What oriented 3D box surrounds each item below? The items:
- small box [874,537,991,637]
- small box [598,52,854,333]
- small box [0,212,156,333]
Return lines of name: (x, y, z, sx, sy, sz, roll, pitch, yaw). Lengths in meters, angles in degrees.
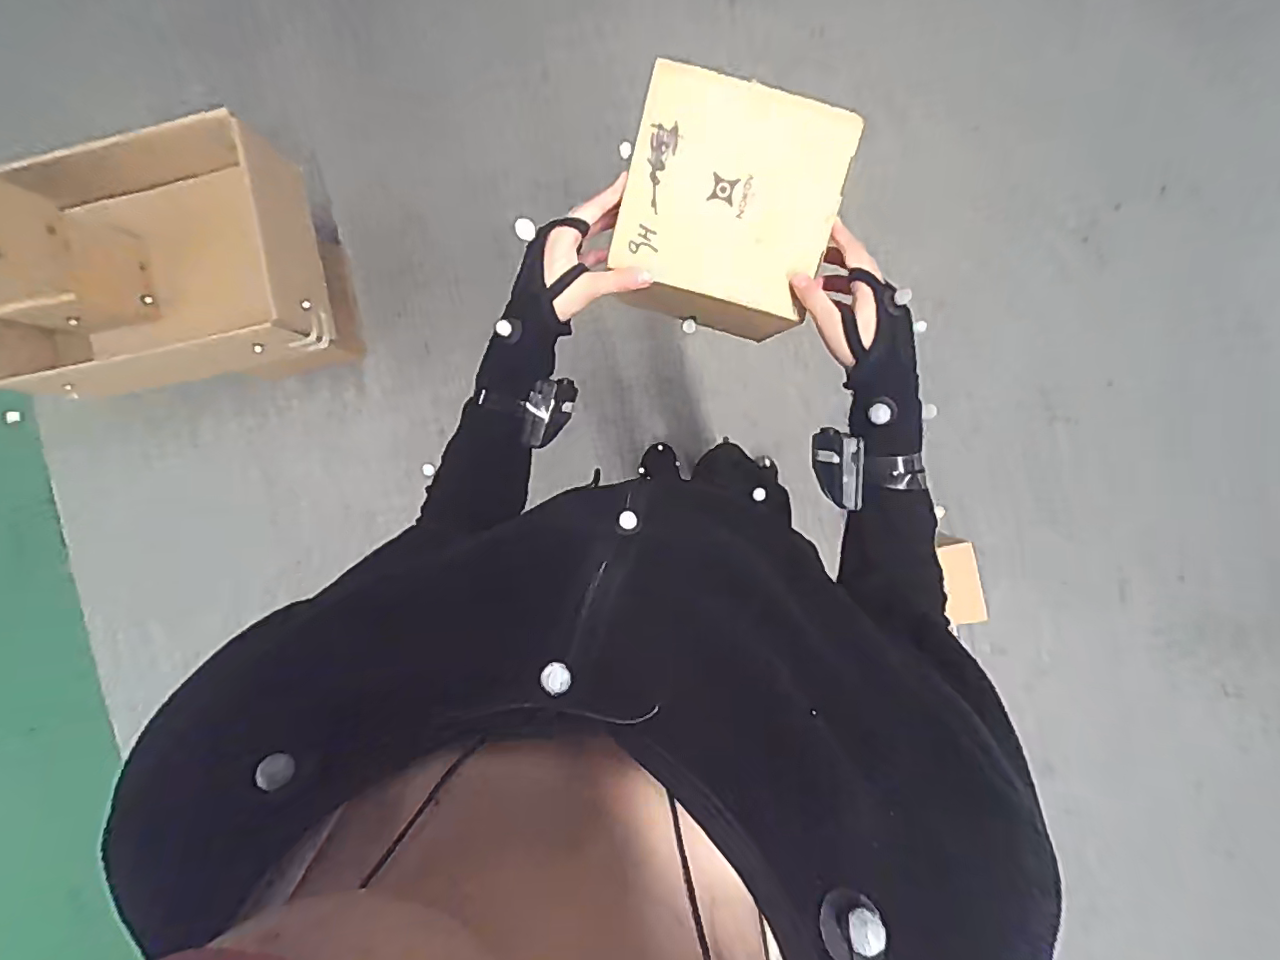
small box: (0.646, 0.231, 1.215, 0.168, 0.176, 0.179, -12, 91, 6)
small box: (0.067, -0.247, 0.515, 0.179, 0.176, 0.168, 14, 96, -2)
small box: (-1.110, -0.400, 1.068, 0.179, 0.176, 0.168, -9, 92, 5)
